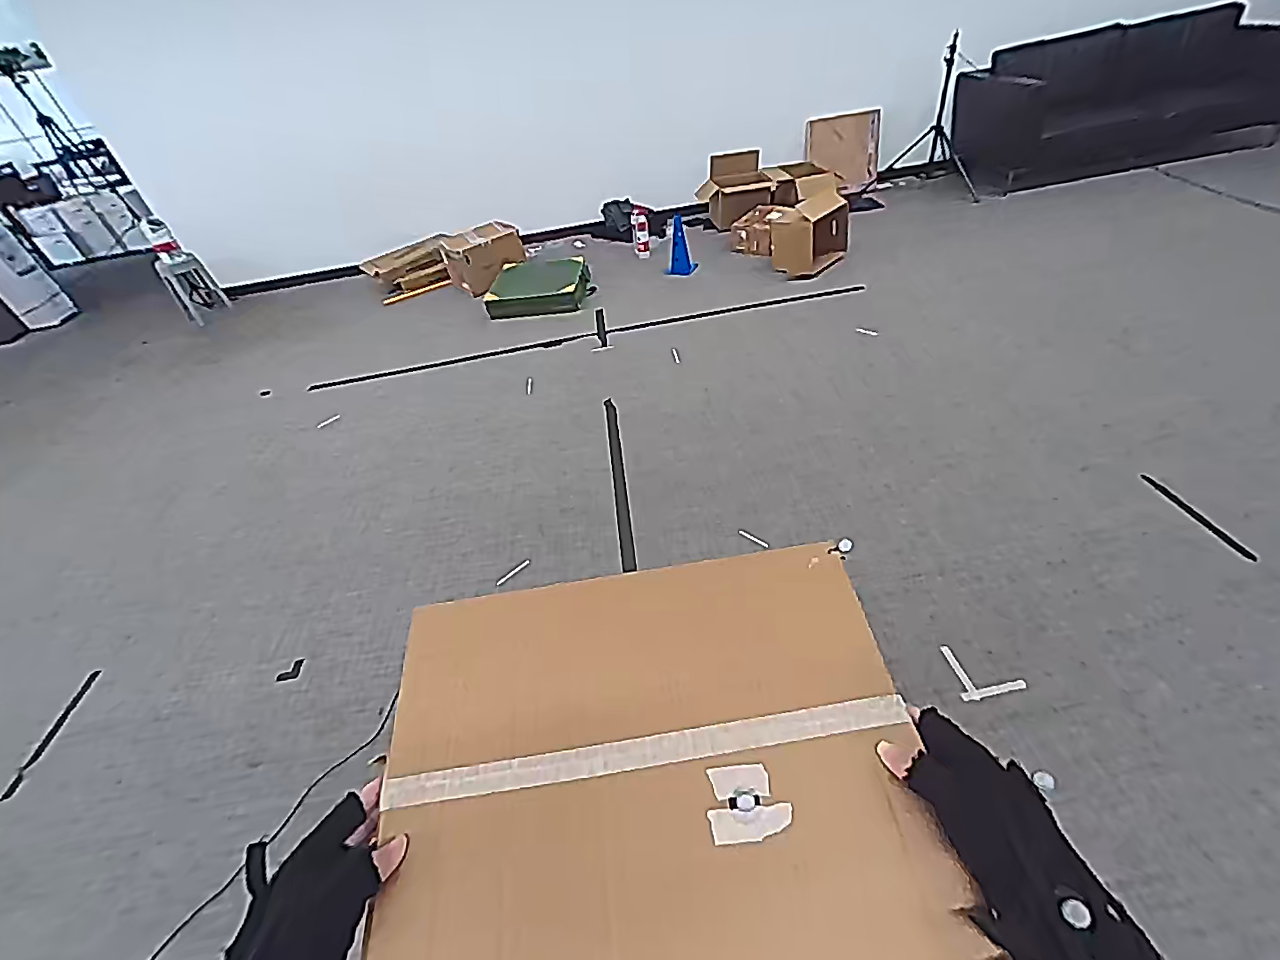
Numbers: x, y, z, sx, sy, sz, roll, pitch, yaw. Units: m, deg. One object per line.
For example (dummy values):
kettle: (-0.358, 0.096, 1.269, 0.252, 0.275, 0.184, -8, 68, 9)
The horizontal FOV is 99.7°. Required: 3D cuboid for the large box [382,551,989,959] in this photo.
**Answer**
large box: (0.021, 0.312, 0.545, 0.408, 0.320, 0.320, -9, 51, 0)
